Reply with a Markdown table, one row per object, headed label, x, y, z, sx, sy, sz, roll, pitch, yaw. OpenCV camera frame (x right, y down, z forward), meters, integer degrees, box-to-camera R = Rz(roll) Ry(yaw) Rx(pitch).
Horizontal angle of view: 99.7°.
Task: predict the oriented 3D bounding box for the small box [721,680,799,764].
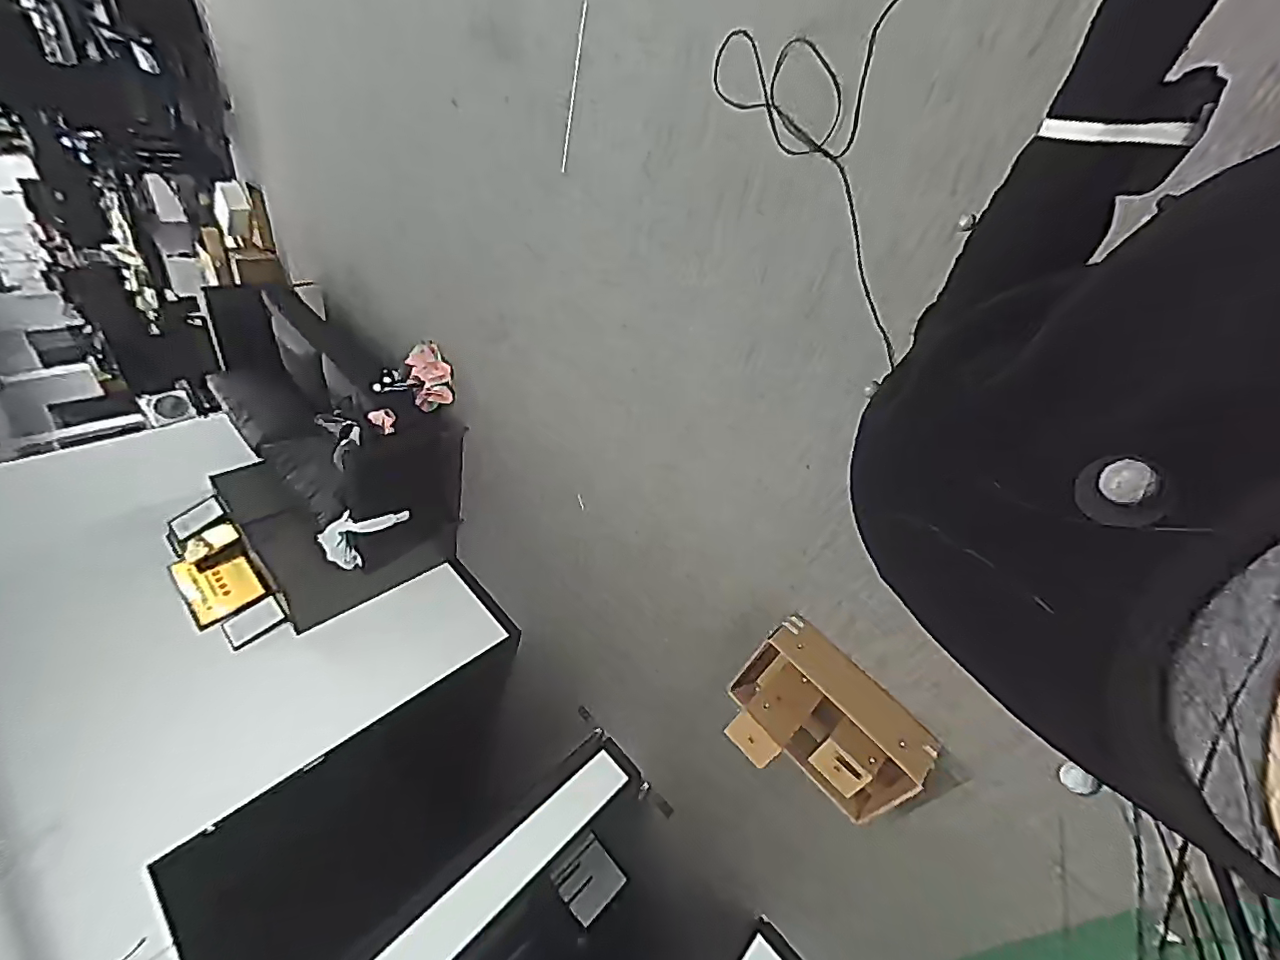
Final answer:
| label | x | y | z | sx | sy | sz | roll | pitch | yaw |
| --- | --- | --- | --- | --- | --- | --- | --- | --- | --- |
| small box | 0.415 | 0.820 | 1.847 | 0.168 | 0.176 | 0.179 | 43 | 135 | 23 |

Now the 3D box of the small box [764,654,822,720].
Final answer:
| label | x | y | z | sx | sy | sz | roll | pitch | yaw |
| --- | --- | --- | --- | --- | --- | --- | --- | --- | --- |
| small box | 0.526 | 0.771 | 1.955 | 0.168 | 0.176 | 0.179 | 41 | 134 | 22 |
